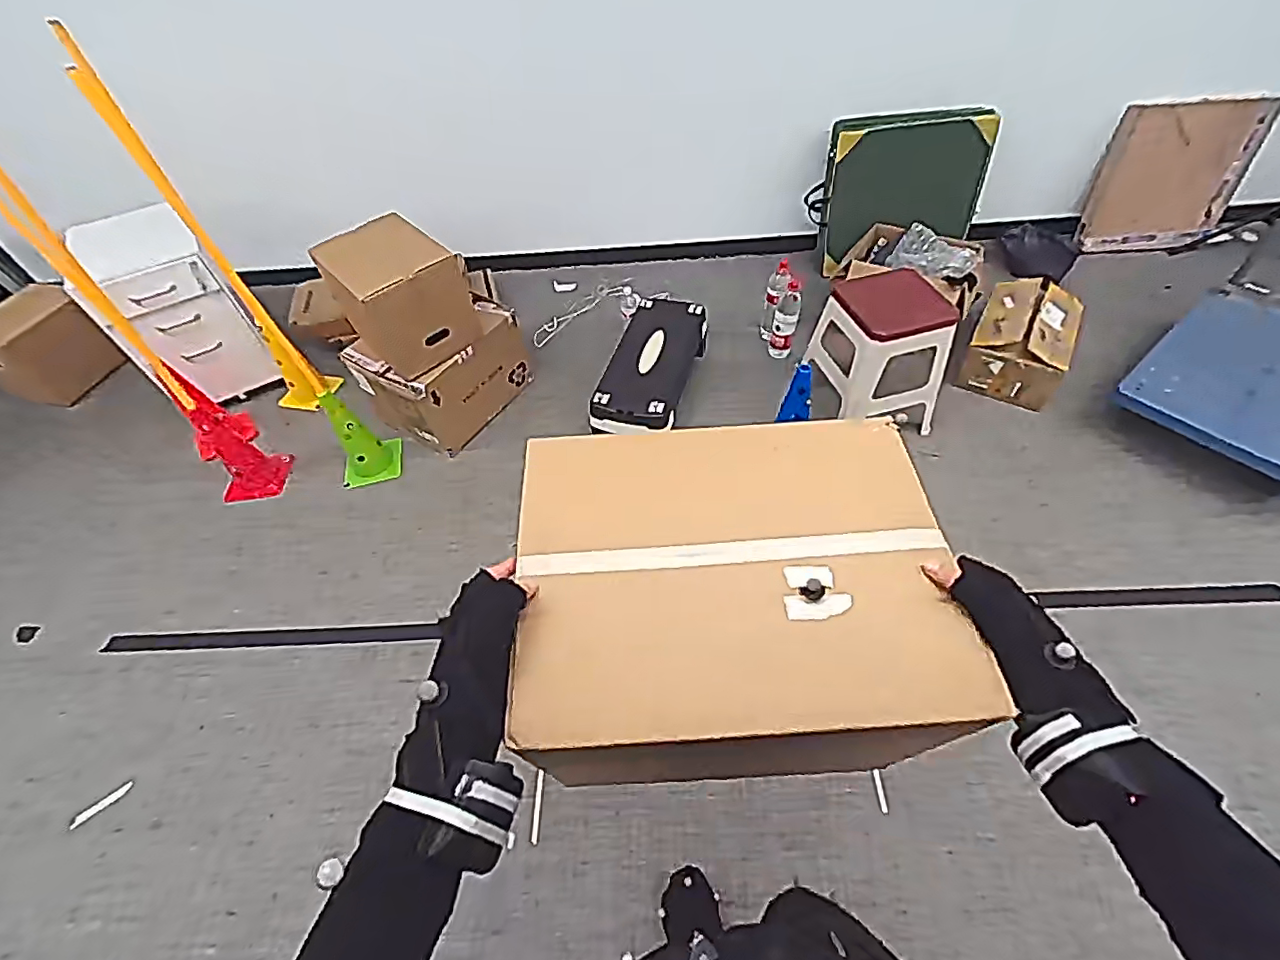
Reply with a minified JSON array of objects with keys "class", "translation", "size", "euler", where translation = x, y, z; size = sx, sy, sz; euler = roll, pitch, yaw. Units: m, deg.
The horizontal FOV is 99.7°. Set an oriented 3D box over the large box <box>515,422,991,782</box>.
[{"class":"large box","translation":[0.088,0.157,0.647],"size":[0.408,0.320,0.320],"euler":[-3,56,0]}]
